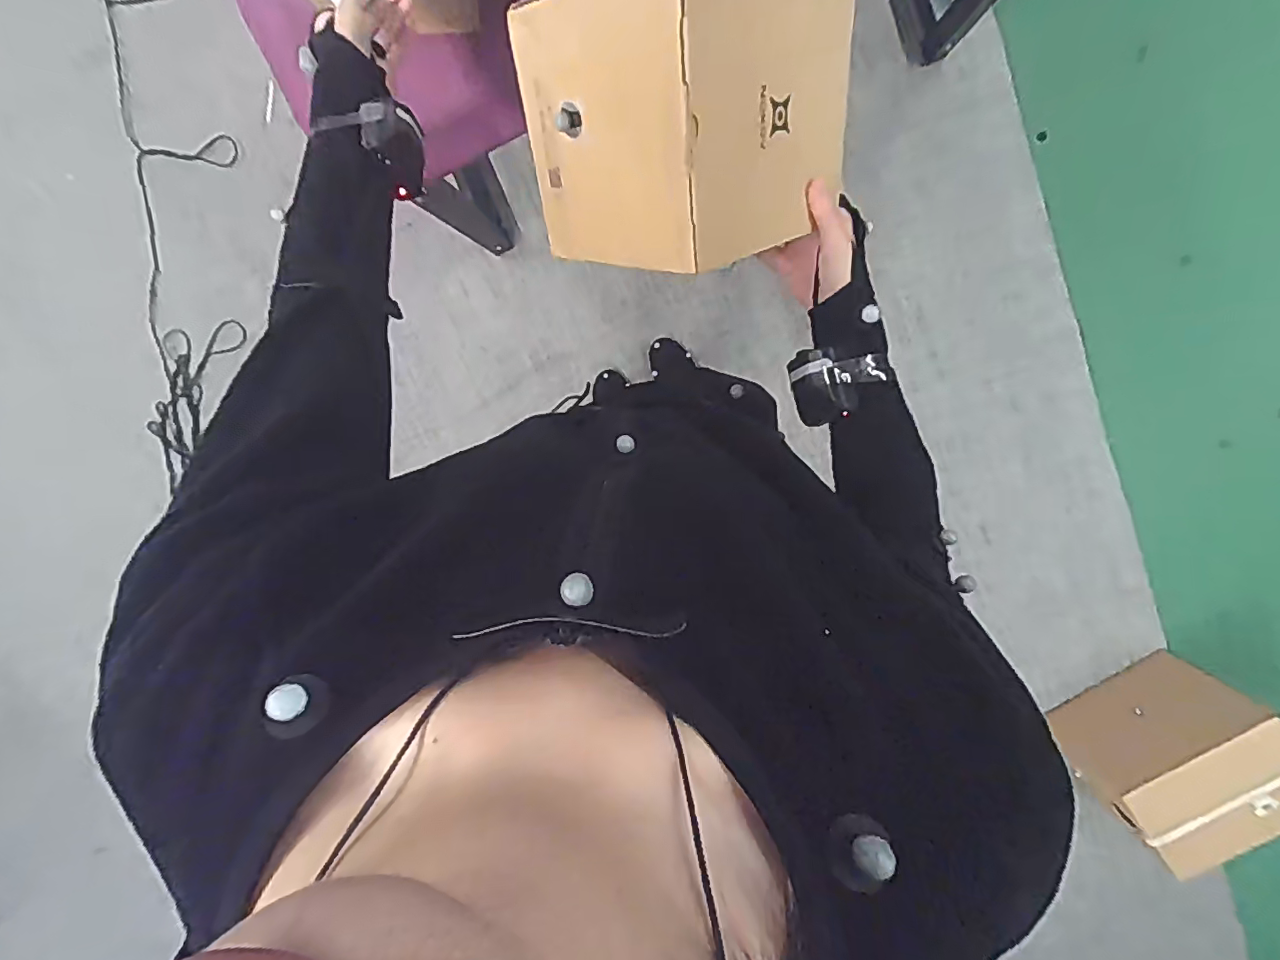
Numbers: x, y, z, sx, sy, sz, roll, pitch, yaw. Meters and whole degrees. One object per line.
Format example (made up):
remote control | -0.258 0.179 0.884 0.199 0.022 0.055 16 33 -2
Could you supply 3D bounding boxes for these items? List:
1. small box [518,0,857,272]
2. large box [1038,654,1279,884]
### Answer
small box | 0.036 -0.270 0.411 0.179 0.176 0.168 -31 130 -31
large box | 1.422 0.756 1.458 0.408 0.320 0.320 -36 99 8
